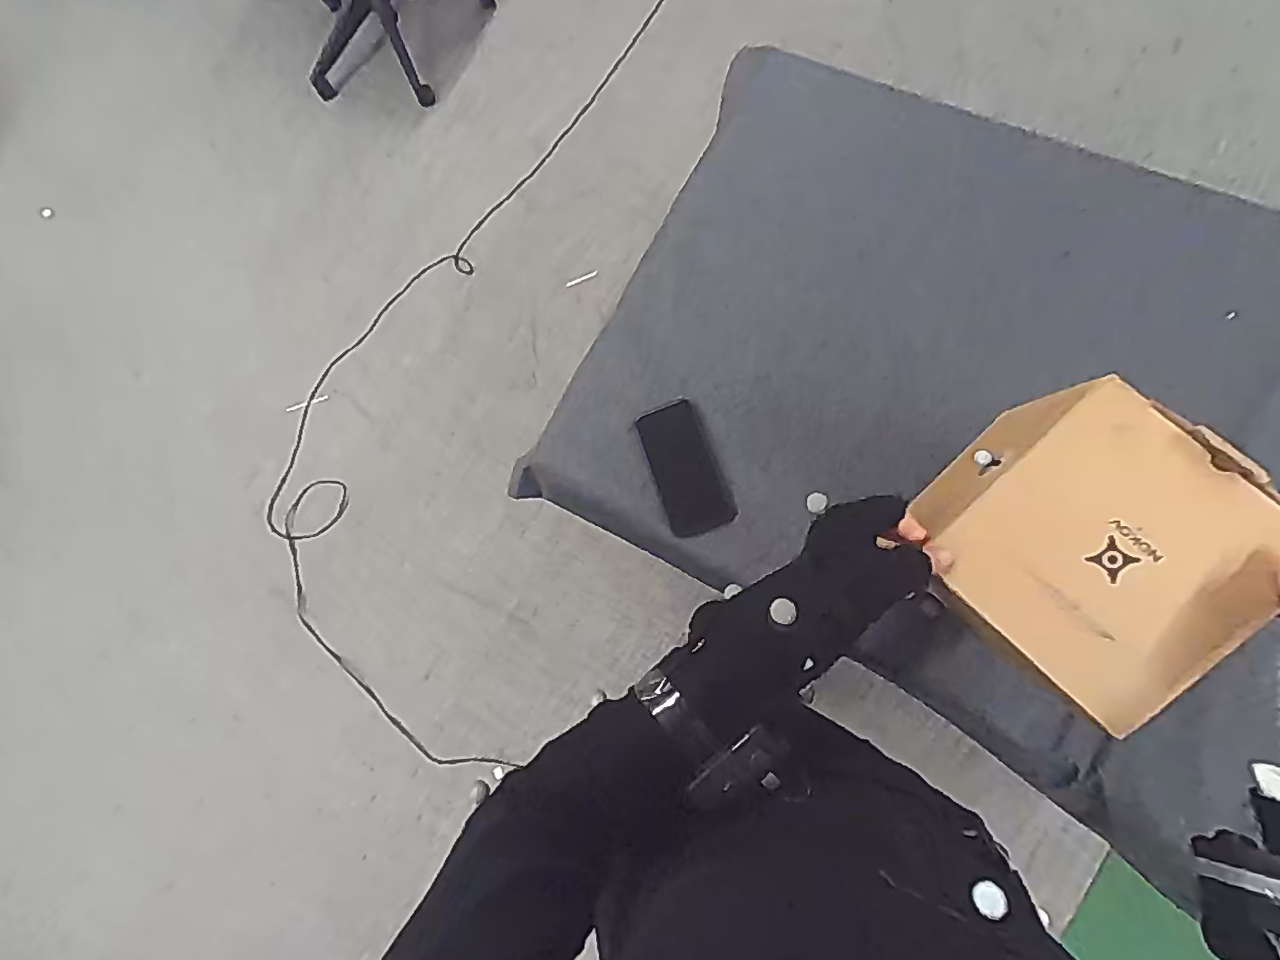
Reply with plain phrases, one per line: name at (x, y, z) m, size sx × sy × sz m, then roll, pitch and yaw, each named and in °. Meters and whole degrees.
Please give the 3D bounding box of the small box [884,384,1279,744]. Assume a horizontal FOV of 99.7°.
small box at (0.324, 0.056, 0.426) m, size 0.168 × 0.176 × 0.179 m, roll 45°, pitch 98°, yaw 12°
